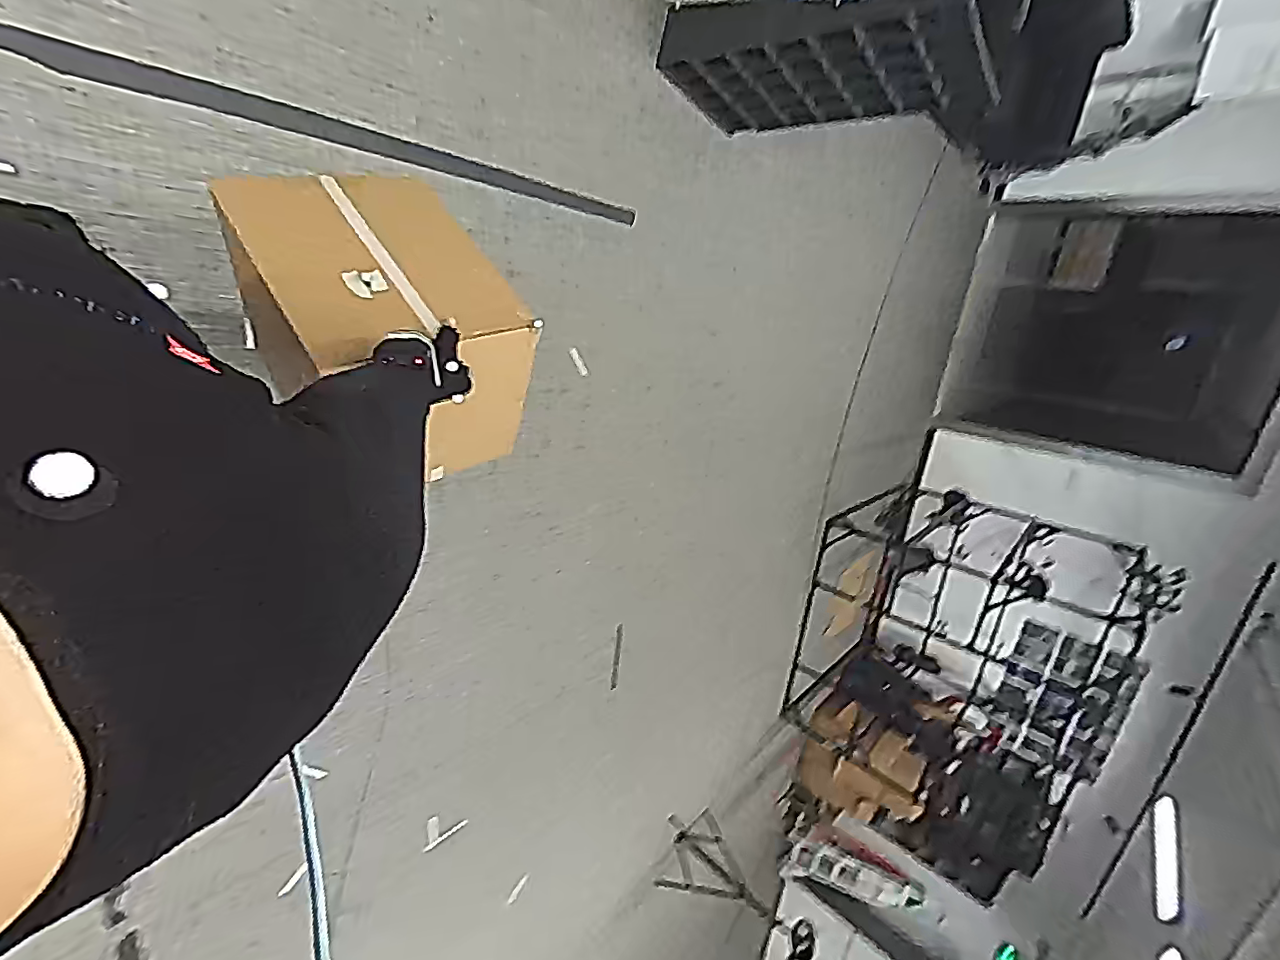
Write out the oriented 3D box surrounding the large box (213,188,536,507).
[{"bbox_3d":[-0.440,-0.233,0.921,0.320,0.408,0.320,-26,159,-35],"label":"large box"}]
